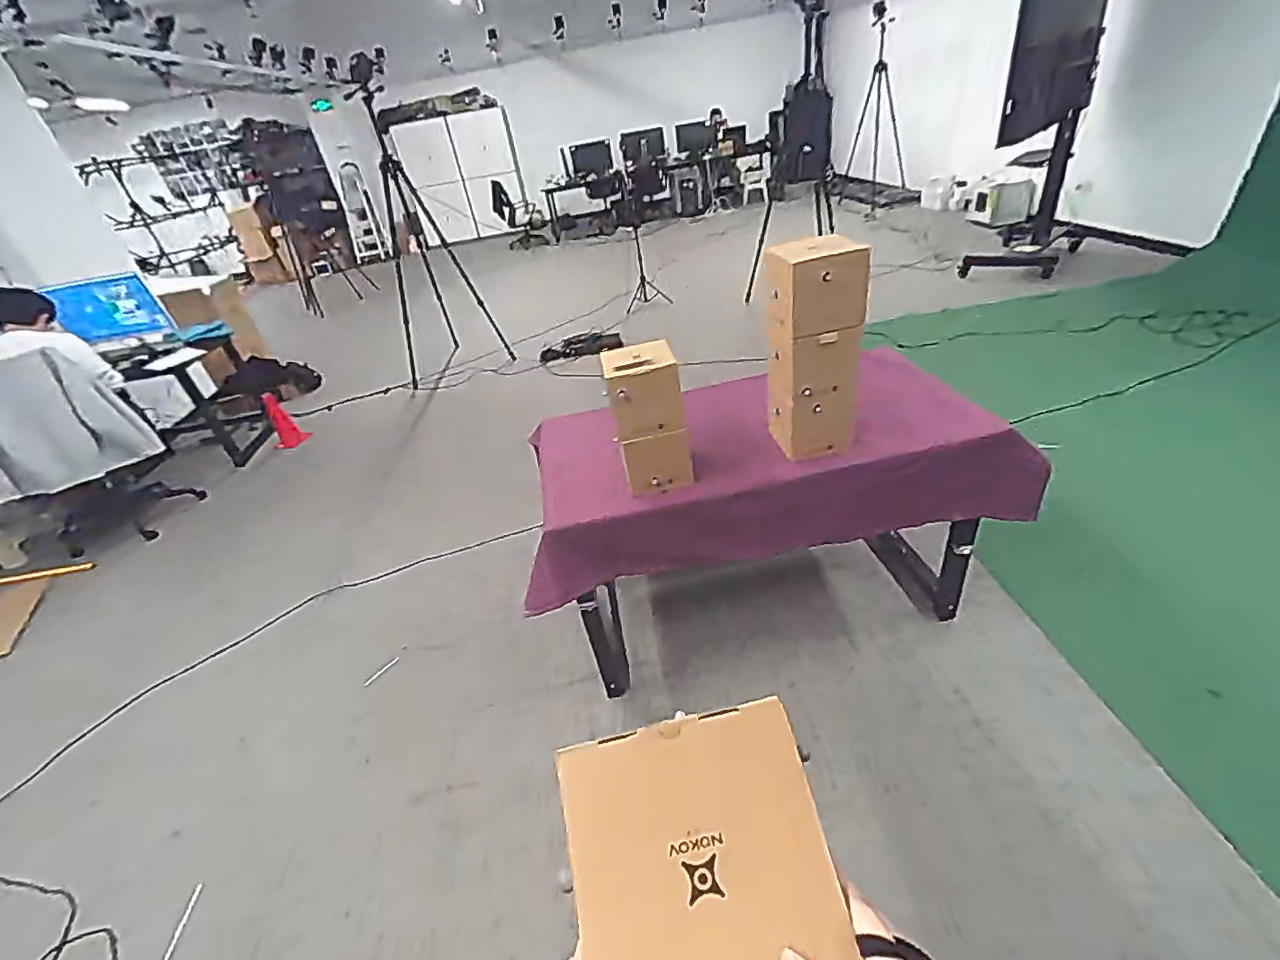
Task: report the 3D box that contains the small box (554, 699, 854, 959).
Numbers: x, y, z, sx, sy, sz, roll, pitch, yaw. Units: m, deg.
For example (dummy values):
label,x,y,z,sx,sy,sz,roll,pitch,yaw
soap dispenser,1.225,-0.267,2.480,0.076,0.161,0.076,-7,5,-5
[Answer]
label,x,y,z,sx,sy,sz,roll,pitch,yaw
small box,0.041,0.284,0.419,0.168,0.176,0.179,-13,62,-3

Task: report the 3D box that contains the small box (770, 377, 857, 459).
label,x,y,z,sx,sy,sz,roll,pitch,yaw
small box,0.451,-0.178,1.421,0.168,0.176,0.179,-14,34,-1

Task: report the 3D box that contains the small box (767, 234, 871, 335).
label,x,y,z,sx,sy,sz,roll,pitch,yaw
small box,0.401,-0.443,1.232,0.179,0.176,0.168,-12,35,-2

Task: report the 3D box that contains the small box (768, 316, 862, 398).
label,x,y,z,sx,sy,sz,roll,pitch,yaw
small box,0.425,-0.312,1.329,0.168,0.176,0.179,-13,34,-2

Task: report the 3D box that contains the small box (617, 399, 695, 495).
label,x,y,z,sx,sy,sz,roll,pitch,yaw
small box,0.041,-0.085,1.406,0.168,0.176,0.179,-12,35,-1
